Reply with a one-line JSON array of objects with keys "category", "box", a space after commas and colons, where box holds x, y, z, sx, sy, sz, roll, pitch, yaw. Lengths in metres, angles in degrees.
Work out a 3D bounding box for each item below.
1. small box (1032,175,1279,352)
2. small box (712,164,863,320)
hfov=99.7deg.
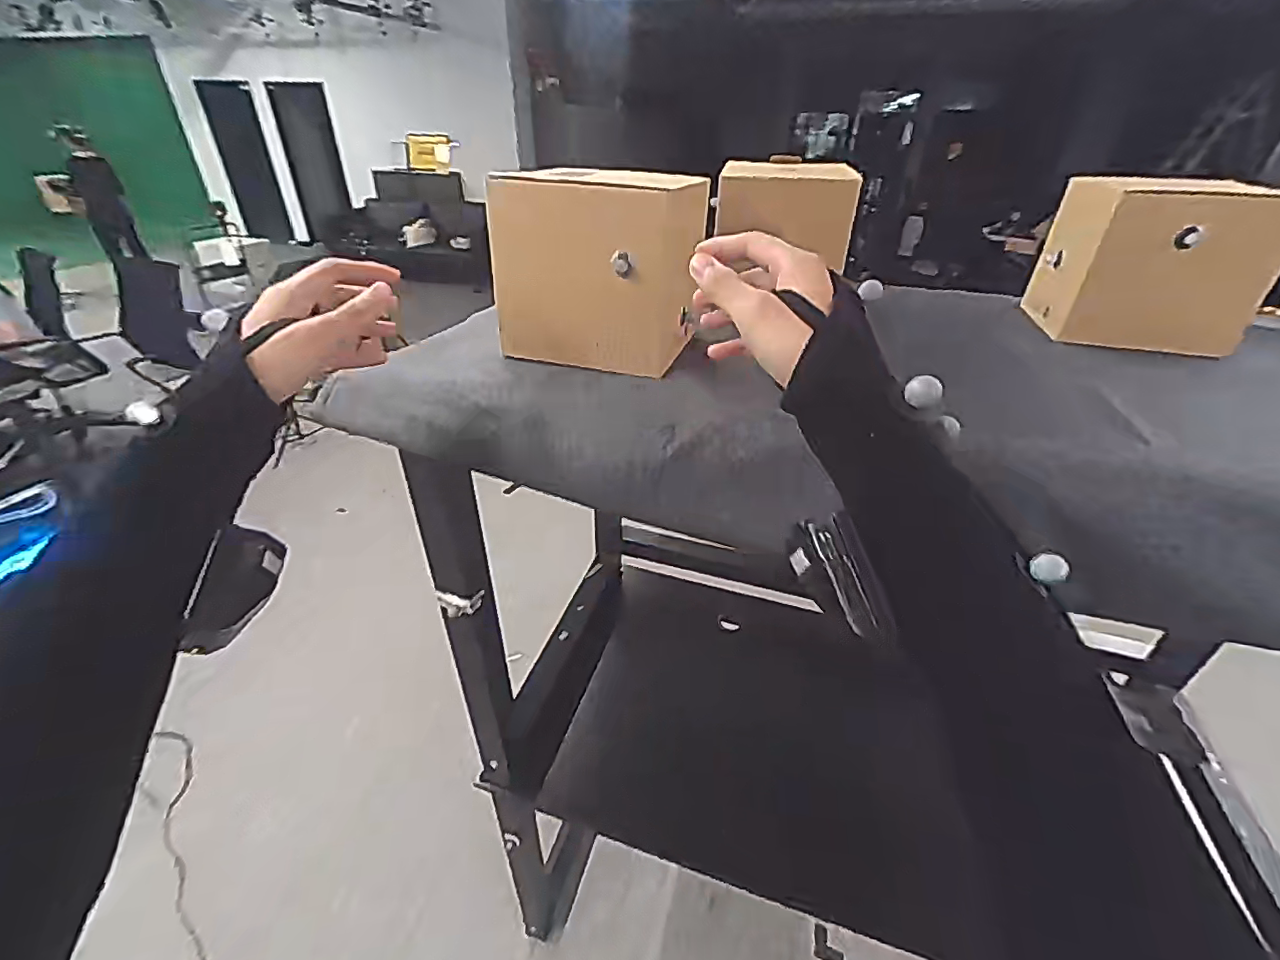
[{"category": "small box", "box": [0.610, -0.265, 0.653, 0.179, 0.176, 0.168, 11, 35, 14]}, {"category": "small box", "box": [0.191, -0.331, 0.741, 0.168, 0.176, 0.179, 6, 34, 9]}]
